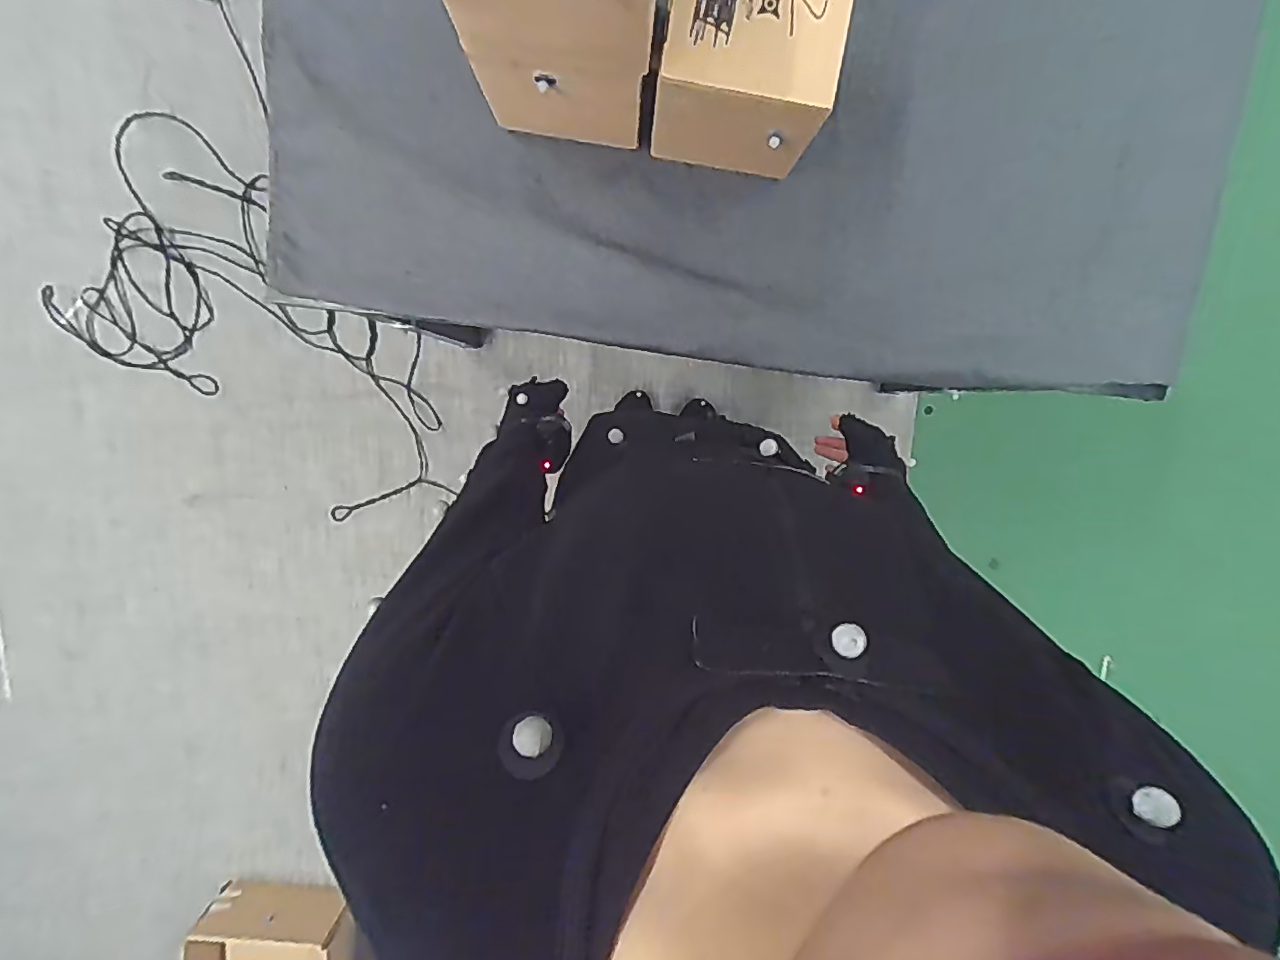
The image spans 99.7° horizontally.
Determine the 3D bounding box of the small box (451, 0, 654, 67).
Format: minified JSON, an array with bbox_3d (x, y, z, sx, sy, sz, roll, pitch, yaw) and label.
[{"bbox_3d":[-0.066,-0.470,0.427,0.179,0.176,0.168,6,97,-3],"label":"small box"}]
